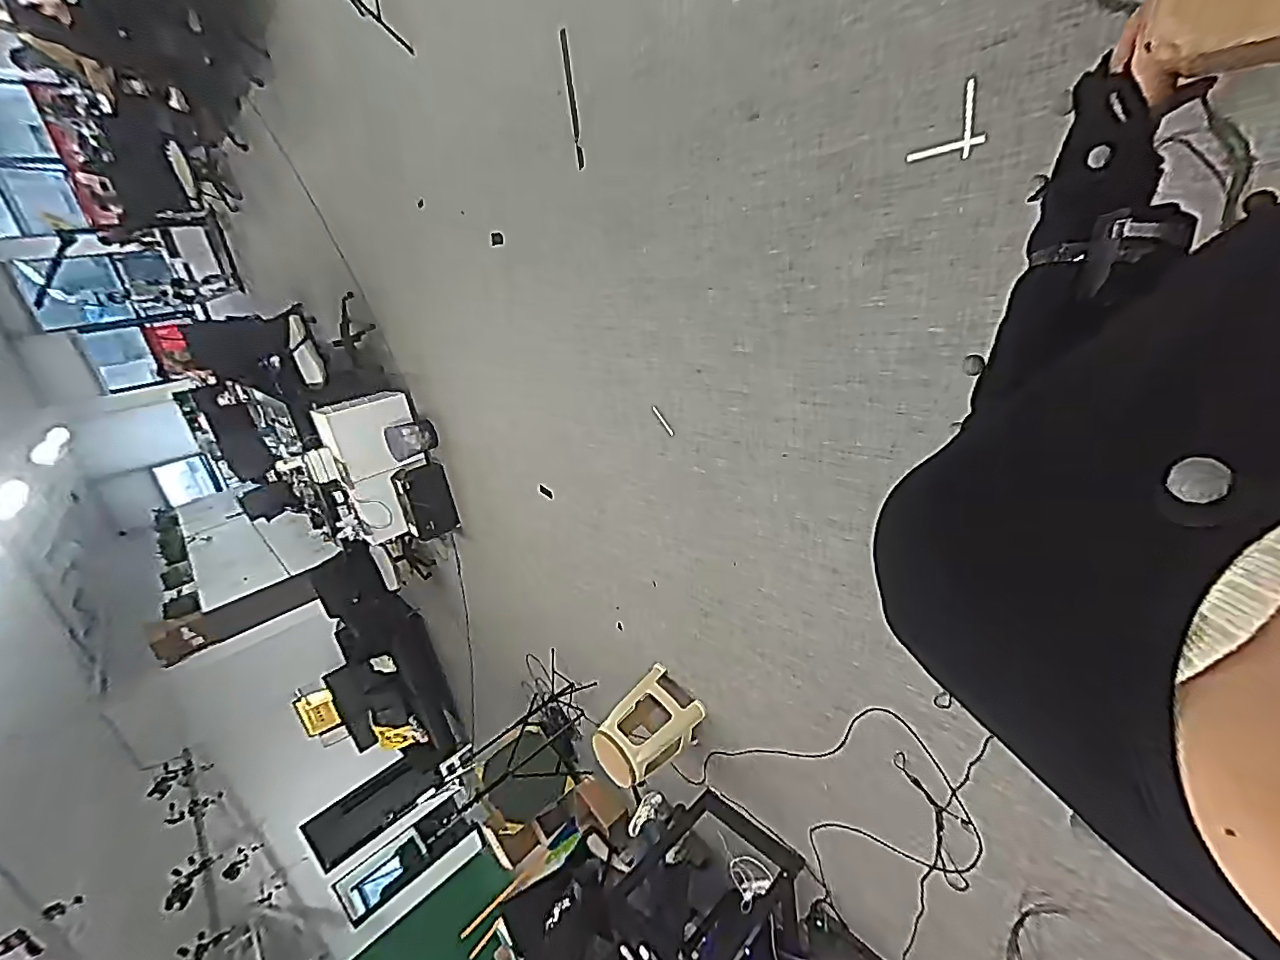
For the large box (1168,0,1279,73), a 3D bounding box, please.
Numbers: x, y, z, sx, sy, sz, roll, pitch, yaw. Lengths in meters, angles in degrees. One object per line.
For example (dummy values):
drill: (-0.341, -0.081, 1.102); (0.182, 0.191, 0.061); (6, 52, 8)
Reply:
large box: (0.418, -0.334, 0.112); (0.408, 0.320, 0.320); (14, 126, 40)
